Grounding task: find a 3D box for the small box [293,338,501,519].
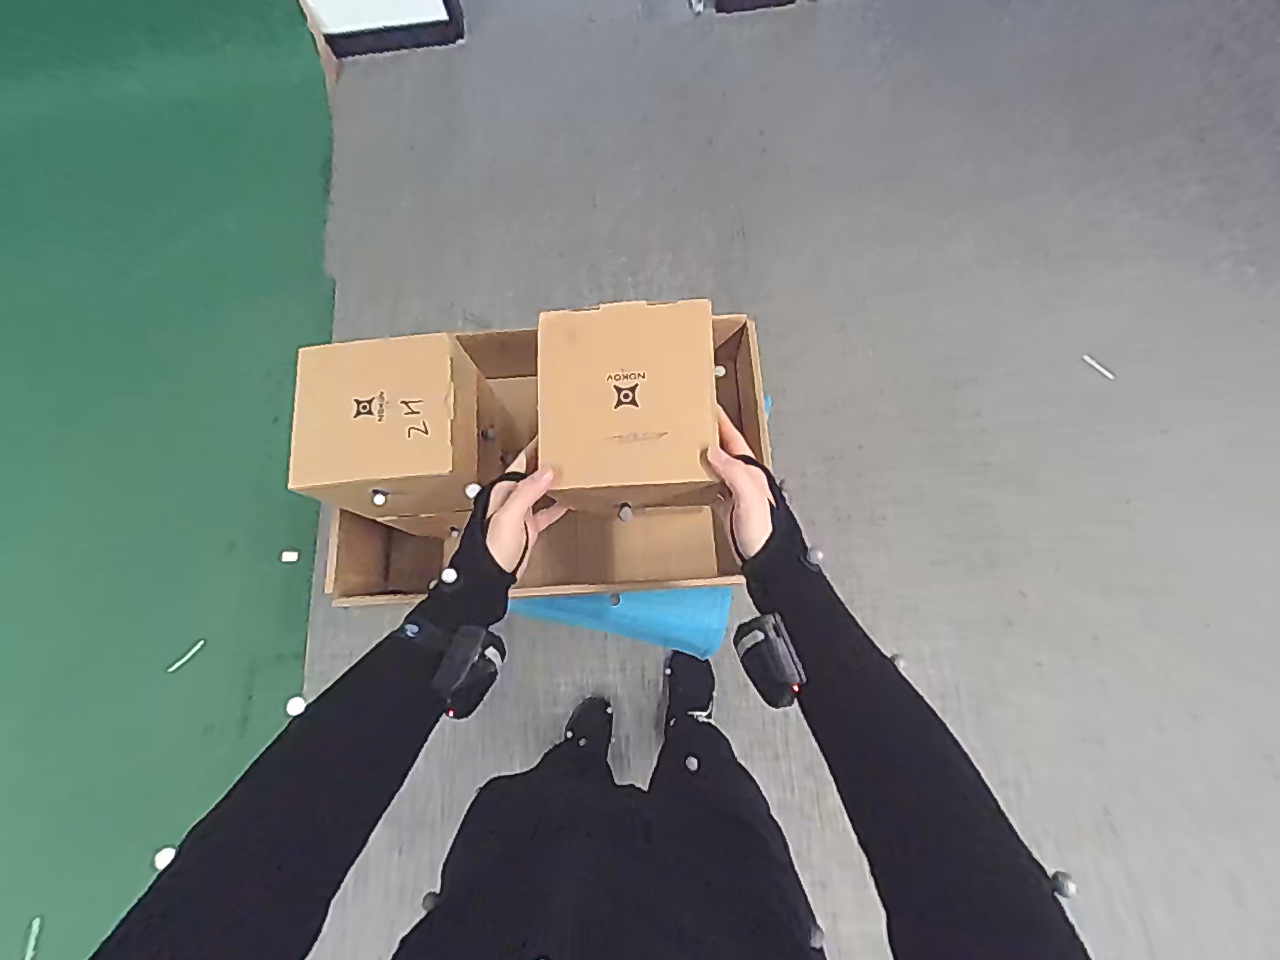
[{"bbox_3d":[-0.280,-0.052,0.662,0.179,0.176,0.168,-5,75,1],"label":"small box"}]
